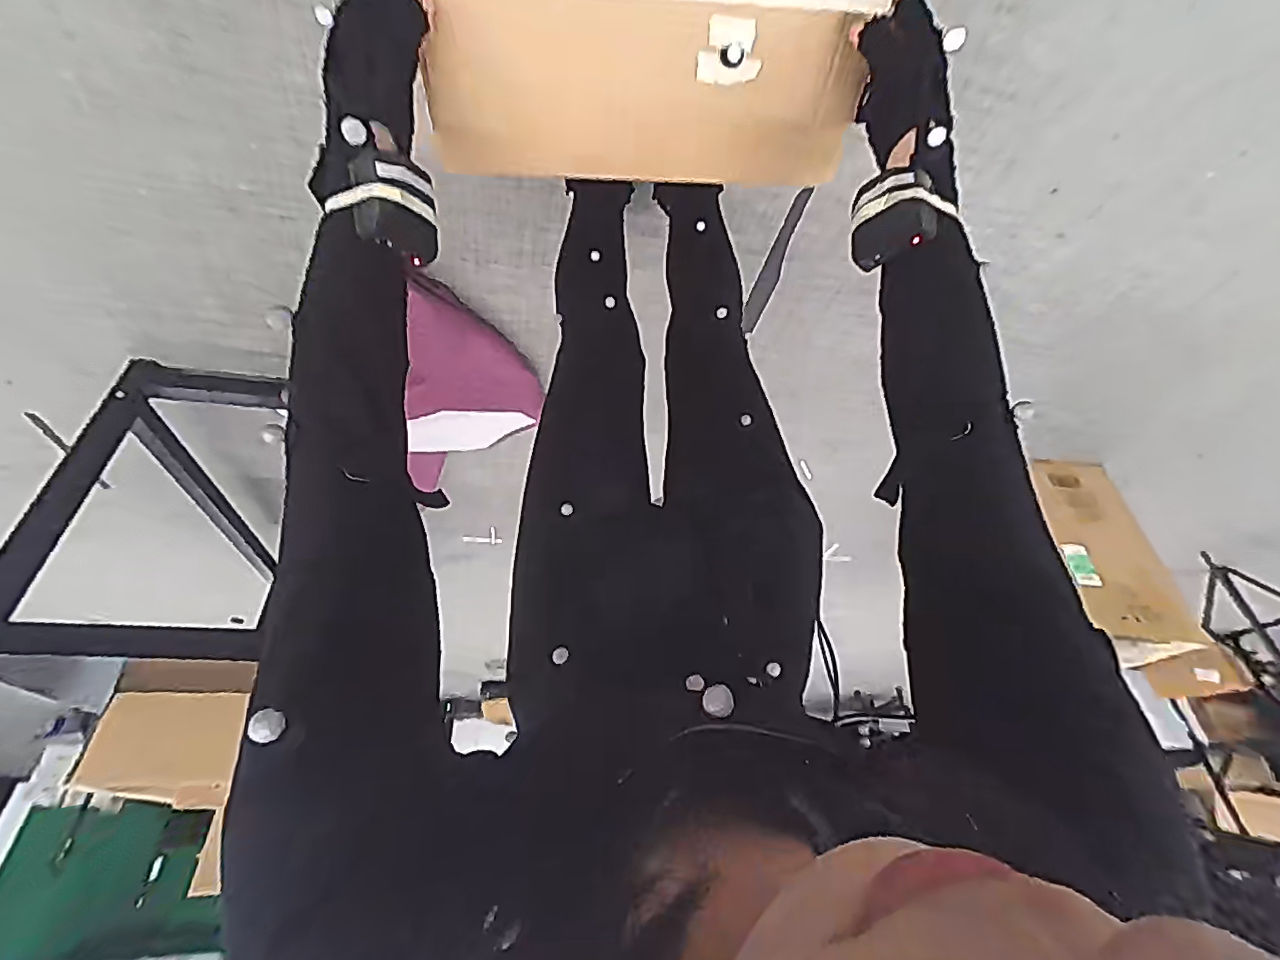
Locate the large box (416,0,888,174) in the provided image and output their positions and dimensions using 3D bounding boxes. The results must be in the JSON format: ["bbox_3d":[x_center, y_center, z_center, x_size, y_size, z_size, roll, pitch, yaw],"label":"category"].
[{"bbox_3d":[-0.002,-0.523,0.526,0.408,0.320,0.320,-3,141,-8],"label":"large box"}]
